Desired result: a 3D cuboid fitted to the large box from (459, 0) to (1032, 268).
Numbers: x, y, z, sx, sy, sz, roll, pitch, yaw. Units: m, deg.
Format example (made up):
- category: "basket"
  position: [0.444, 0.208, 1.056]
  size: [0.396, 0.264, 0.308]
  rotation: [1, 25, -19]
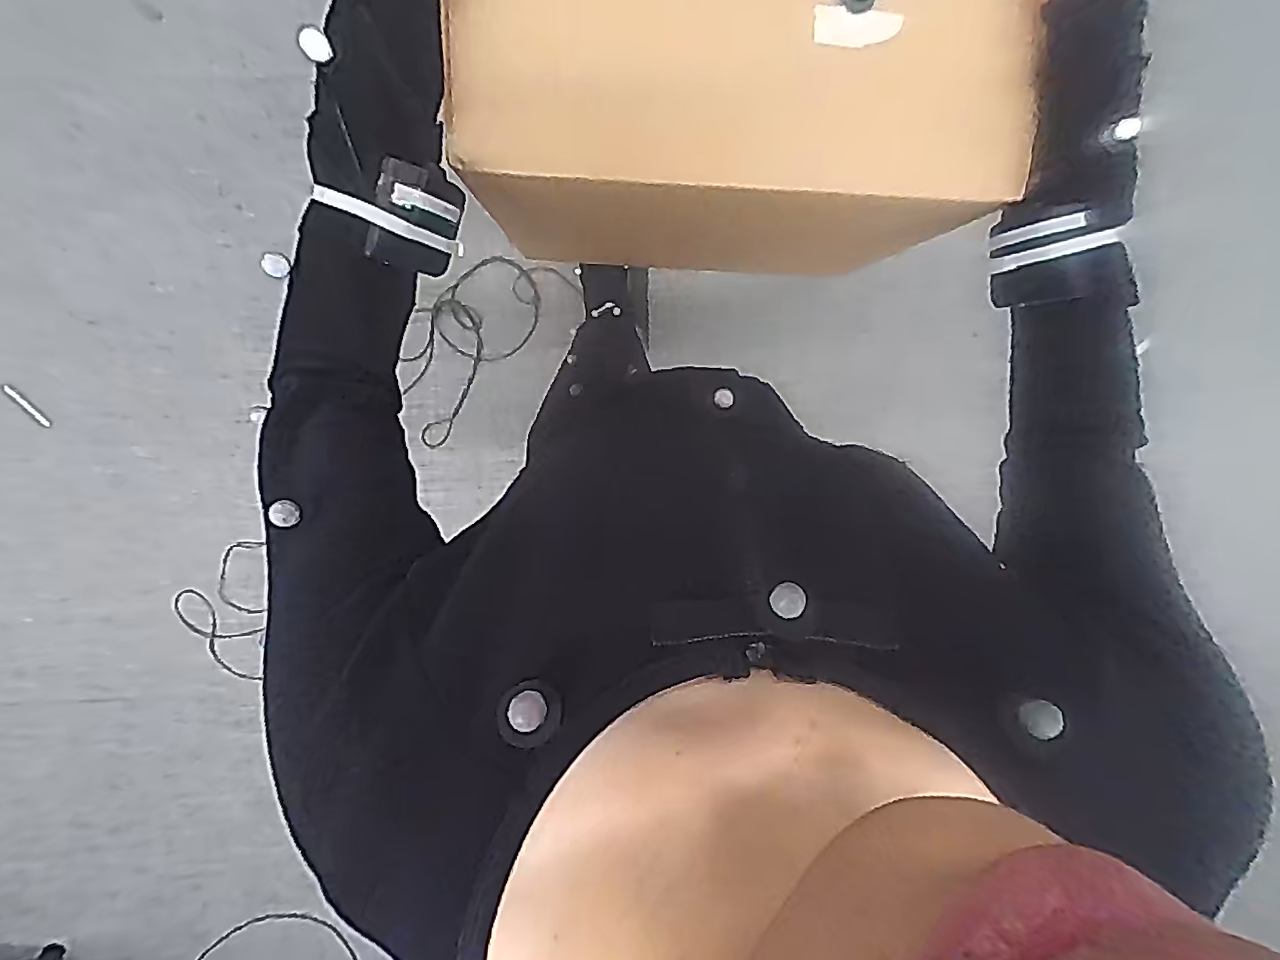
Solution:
- category: "large box"
  position: [0.068, -0.395, 0.509]
  size: [0.408, 0.320, 0.320]
  rotation: [1, 101, -3]
